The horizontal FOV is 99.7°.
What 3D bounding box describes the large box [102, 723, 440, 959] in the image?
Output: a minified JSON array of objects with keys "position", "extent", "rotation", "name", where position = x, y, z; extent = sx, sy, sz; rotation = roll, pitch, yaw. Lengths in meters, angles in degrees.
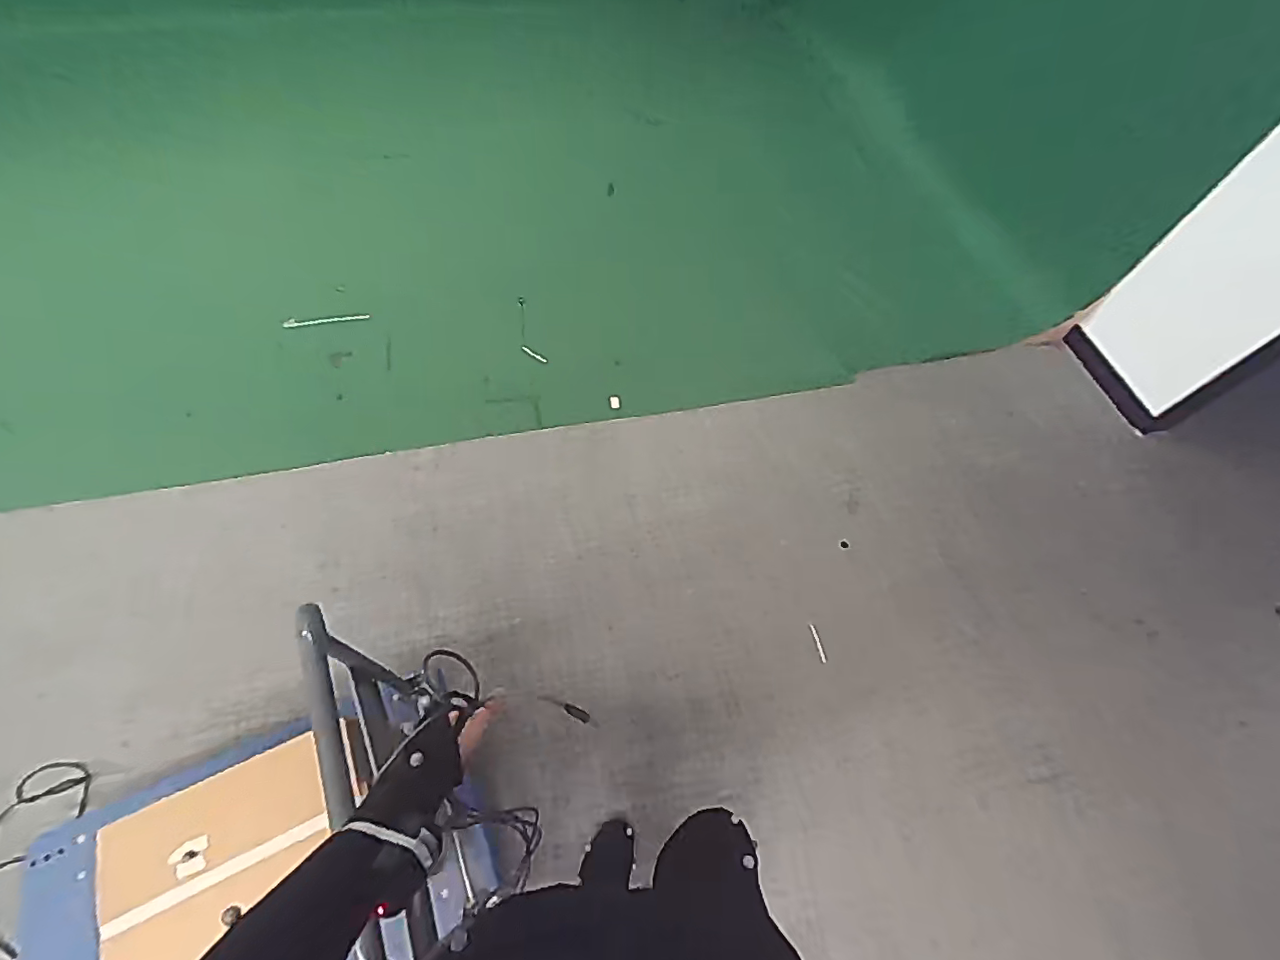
[{"position":[-0.652,0.706,1.012],"extent":[0.408,0.320,0.320],"rotation":[-23,64,-13],"name":"large box"}]
